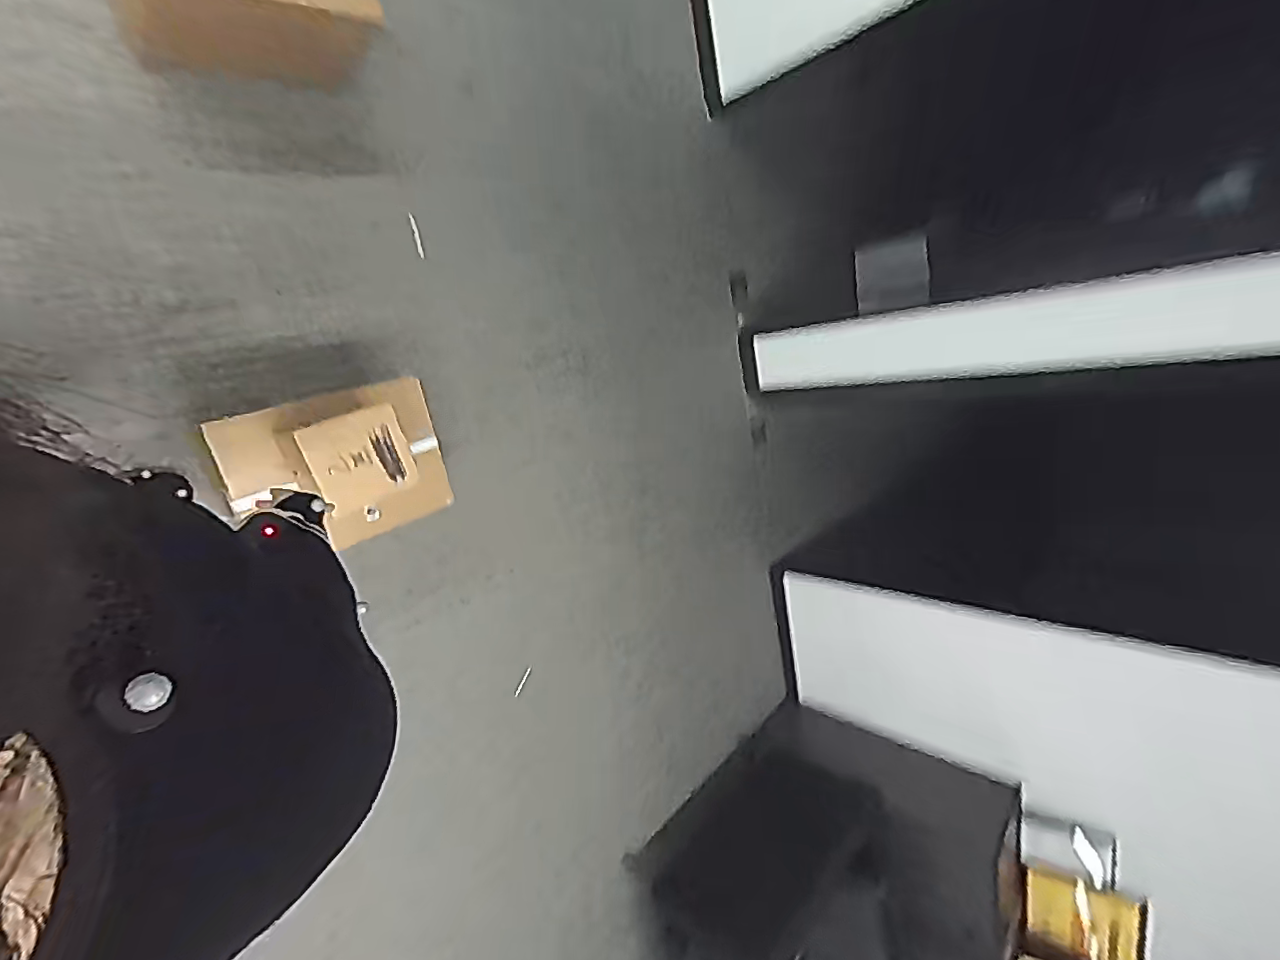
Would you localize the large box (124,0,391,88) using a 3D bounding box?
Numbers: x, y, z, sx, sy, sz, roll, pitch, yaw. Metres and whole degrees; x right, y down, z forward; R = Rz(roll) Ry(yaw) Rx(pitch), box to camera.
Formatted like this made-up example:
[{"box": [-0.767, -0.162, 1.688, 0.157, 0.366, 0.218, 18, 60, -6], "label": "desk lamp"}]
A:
[{"box": [-0.794, -1.047, 1.078, 0.408, 0.320, 0.320, -25, 110, -41], "label": "large box"}]
